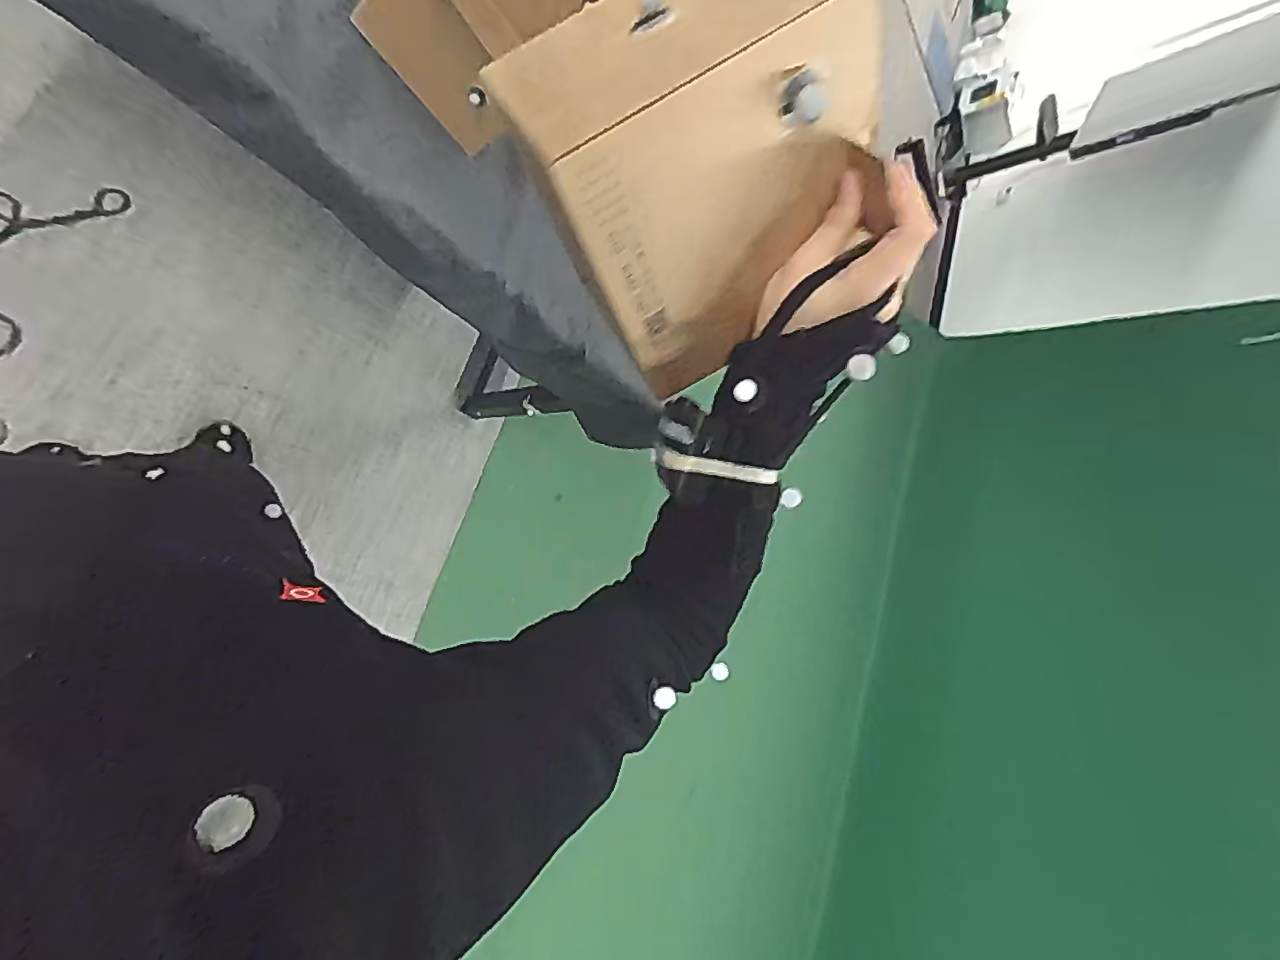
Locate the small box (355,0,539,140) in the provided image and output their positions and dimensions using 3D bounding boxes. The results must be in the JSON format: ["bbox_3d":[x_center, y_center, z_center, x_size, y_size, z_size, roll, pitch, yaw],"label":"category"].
[{"bbox_3d":[-0.186,-0.535,0.628,0.179,0.176,0.168,41,63,-39],"label":"small box"}]

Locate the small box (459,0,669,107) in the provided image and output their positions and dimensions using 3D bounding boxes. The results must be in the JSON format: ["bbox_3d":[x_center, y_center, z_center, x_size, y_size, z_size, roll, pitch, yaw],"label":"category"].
[{"bbox_3d":[-0.074,-0.510,0.511,0.179,0.176,0.168,44,61,-40],"label":"small box"}]
